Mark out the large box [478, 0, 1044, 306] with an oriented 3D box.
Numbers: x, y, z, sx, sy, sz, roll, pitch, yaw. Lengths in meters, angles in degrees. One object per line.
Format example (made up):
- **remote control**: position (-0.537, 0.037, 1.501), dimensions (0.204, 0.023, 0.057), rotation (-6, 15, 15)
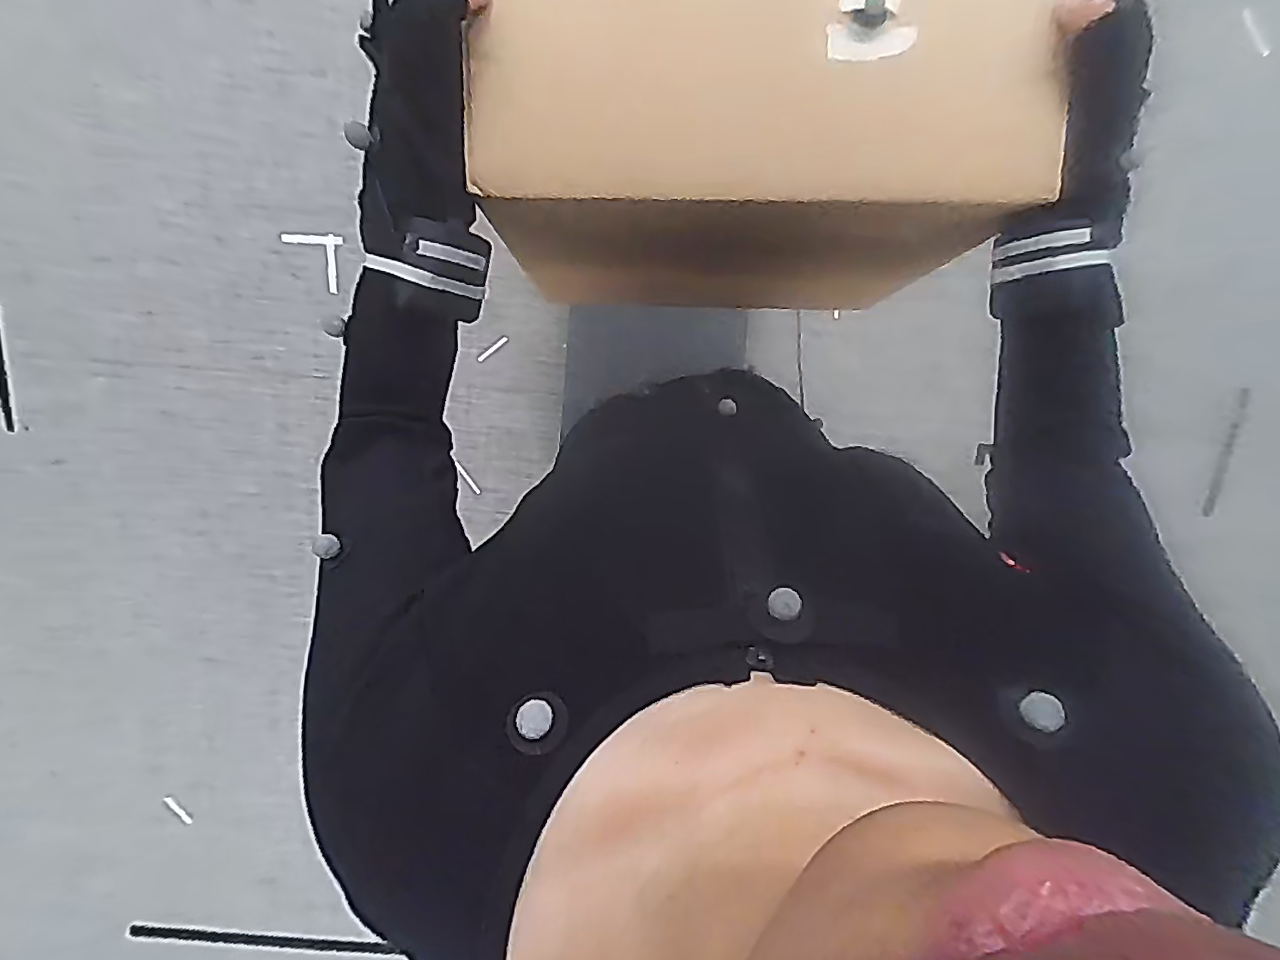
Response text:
- **large box**: position (0.082, -0.363, 0.525), dimensions (0.408, 0.320, 0.320), rotation (1, 95, -1)
